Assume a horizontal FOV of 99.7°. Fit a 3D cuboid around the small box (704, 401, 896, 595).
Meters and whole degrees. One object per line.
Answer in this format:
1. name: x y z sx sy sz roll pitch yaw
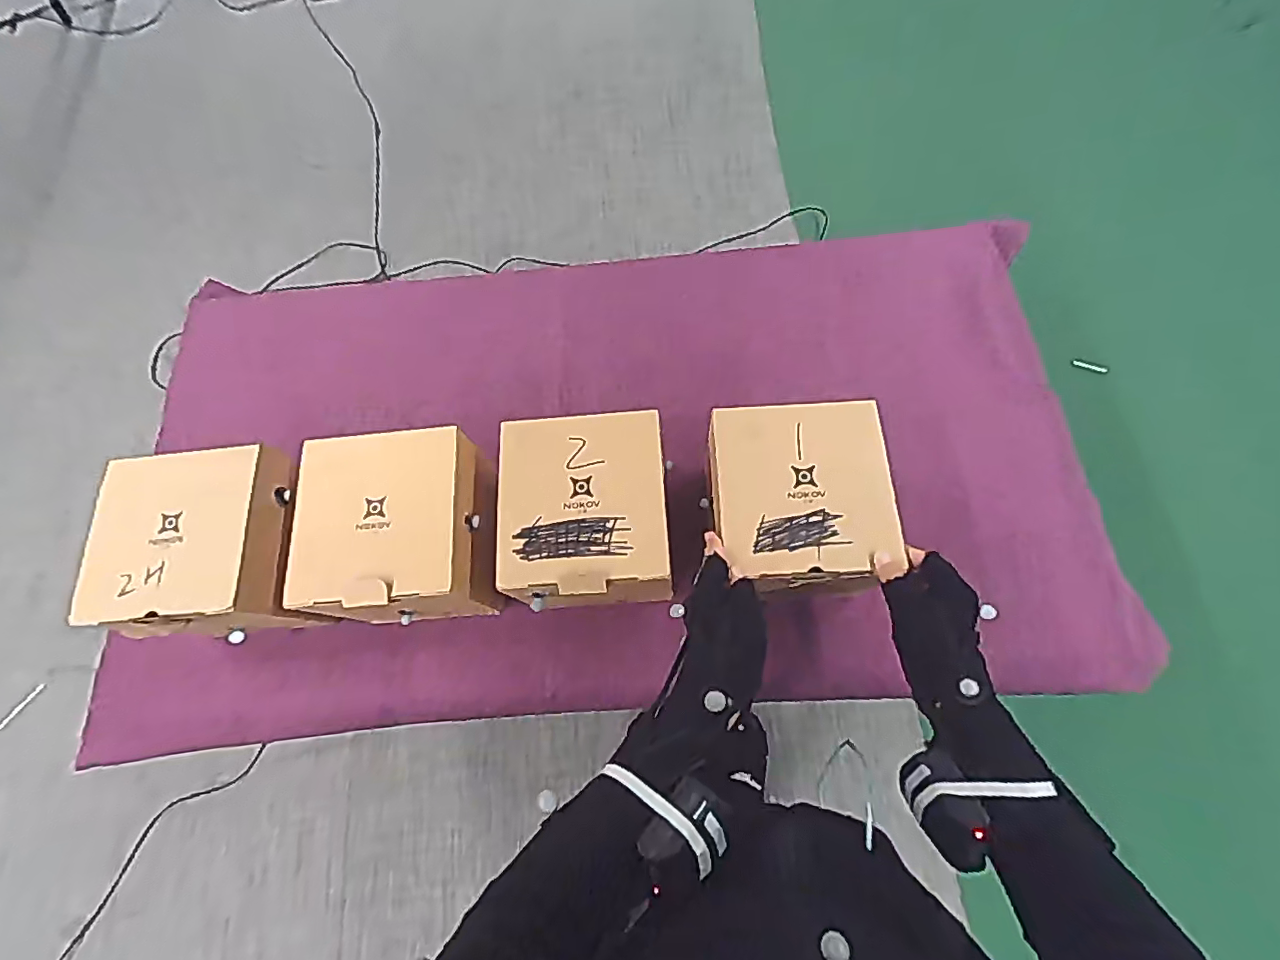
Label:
1. small box: 0.158 0.032 0.598 0.168 0.176 0.179 -3 69 3
